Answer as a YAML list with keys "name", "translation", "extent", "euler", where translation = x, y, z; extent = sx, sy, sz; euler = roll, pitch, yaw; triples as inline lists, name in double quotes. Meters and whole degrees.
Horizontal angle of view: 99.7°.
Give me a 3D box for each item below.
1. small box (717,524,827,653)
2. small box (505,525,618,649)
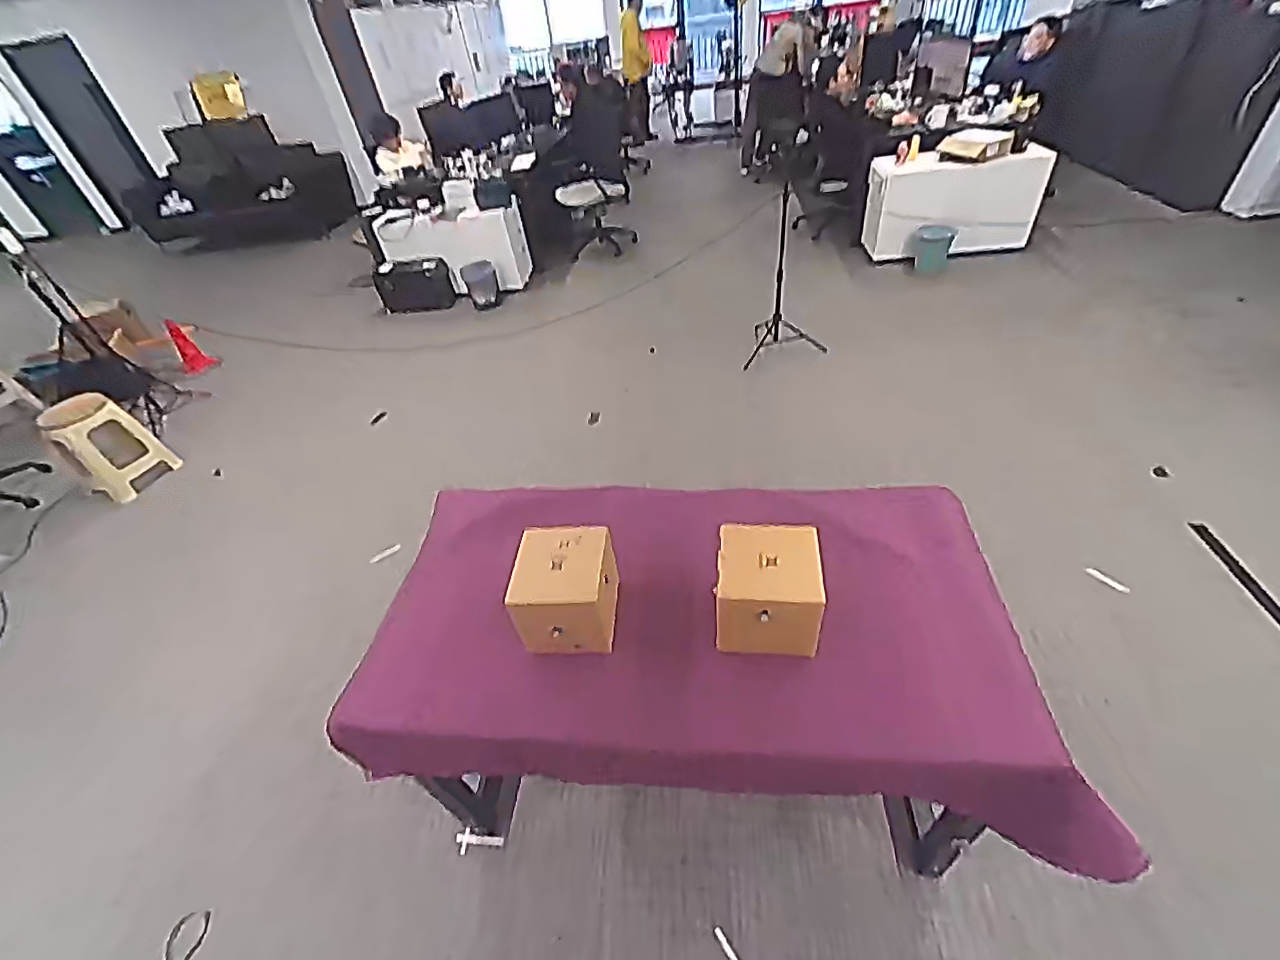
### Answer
- name: "small box"
  translation: [0.234, 0.199, 0.986]
  extent: [0.179, 0.176, 0.168]
  euler: [0, 43, 11]
- name: "small box"
  translation: [-0.138, 0.208, 1.036]
  extent: [0.168, 0.176, 0.179]
  euler: [-2, 42, 7]
